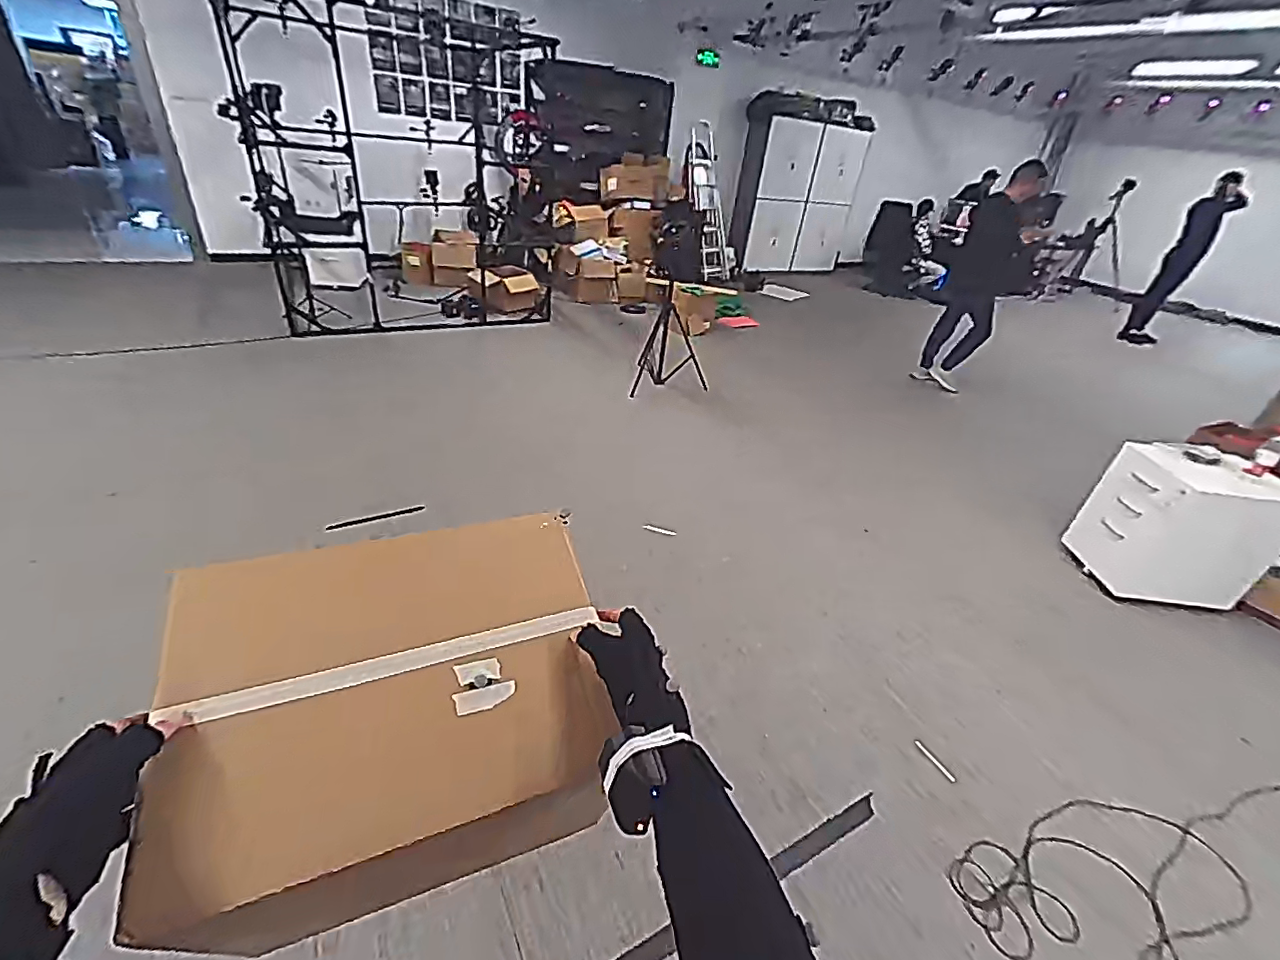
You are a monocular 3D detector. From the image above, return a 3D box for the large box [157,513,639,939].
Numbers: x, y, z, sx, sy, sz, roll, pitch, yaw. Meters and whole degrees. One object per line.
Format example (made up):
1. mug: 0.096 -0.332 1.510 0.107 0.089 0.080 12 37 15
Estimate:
1. large box: -0.265 0.281 0.665 0.408 0.320 0.320 -8 51 -23
